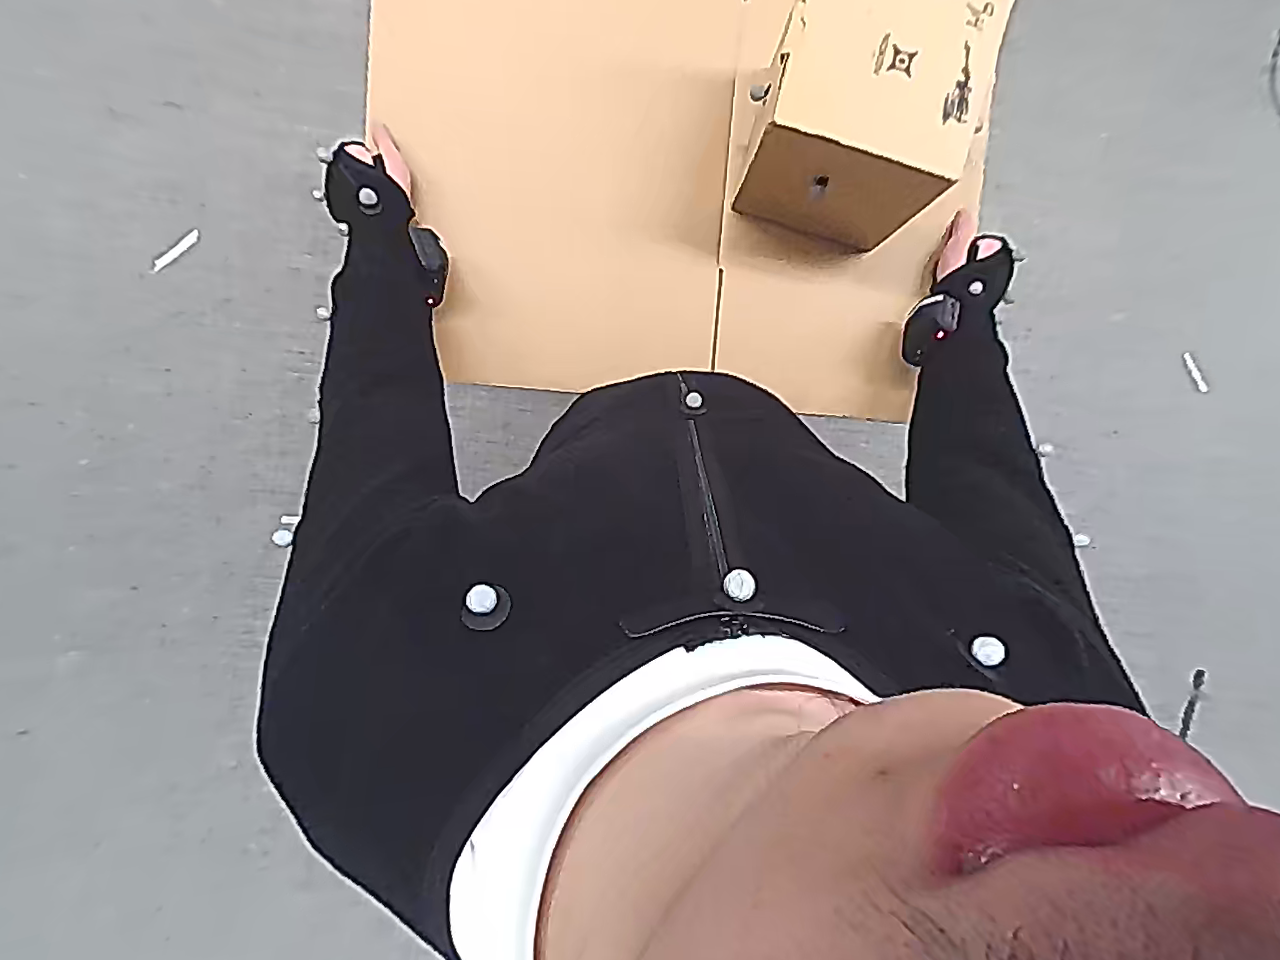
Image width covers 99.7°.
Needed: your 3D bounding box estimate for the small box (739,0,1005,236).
[{"bbox_3d":[0.212,-0.374,0.546,0.179,0.176,0.168,15,93,-2],"label":"small box"}]
